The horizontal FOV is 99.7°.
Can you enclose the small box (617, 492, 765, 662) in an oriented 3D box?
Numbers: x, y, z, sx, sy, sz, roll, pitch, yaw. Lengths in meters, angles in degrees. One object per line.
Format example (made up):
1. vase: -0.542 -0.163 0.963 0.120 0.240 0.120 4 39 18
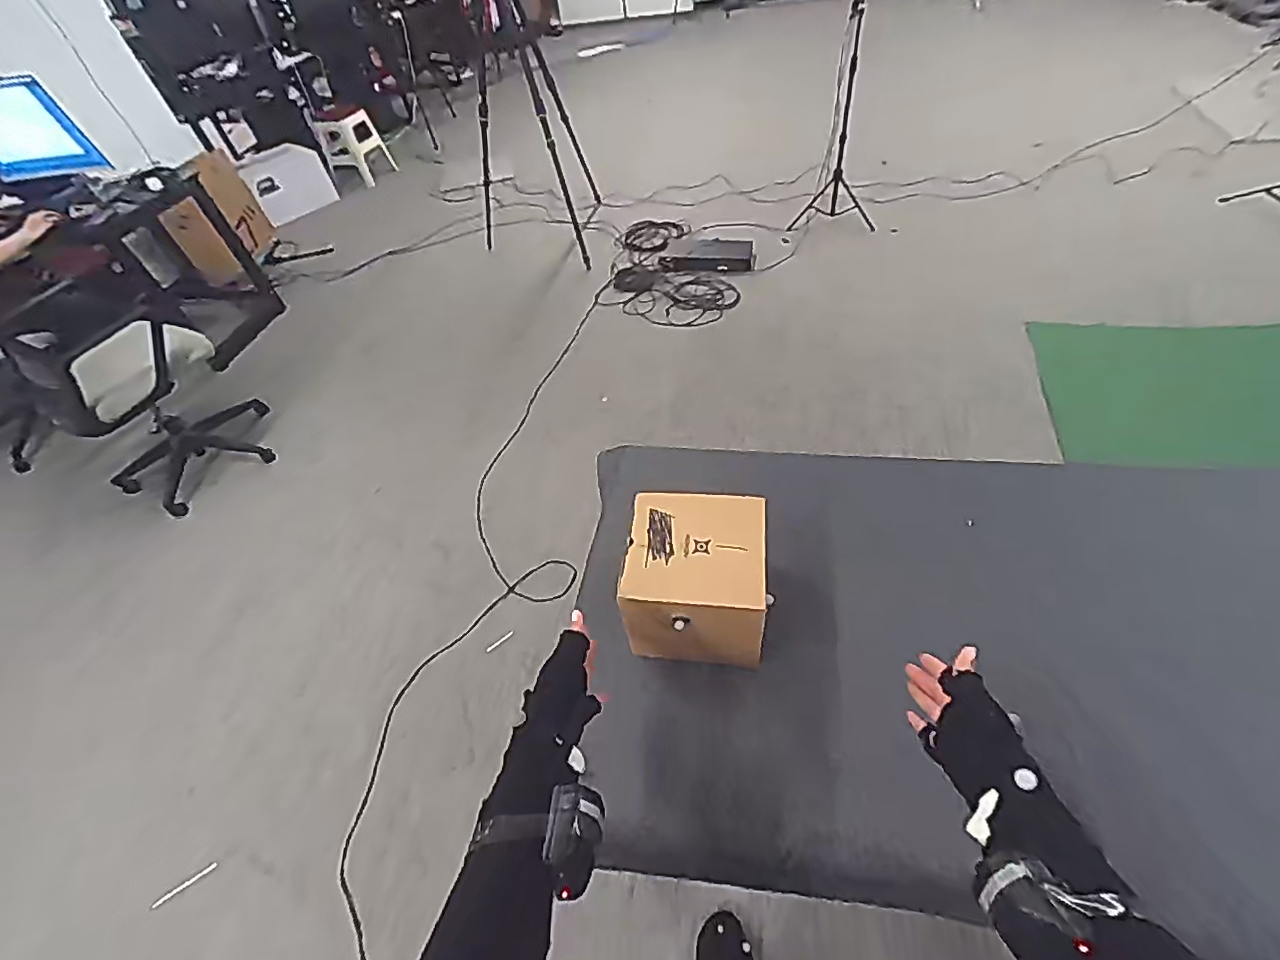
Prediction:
1. small box: 0.077 0.135 0.741 0.179 0.176 0.168 3 50 10
